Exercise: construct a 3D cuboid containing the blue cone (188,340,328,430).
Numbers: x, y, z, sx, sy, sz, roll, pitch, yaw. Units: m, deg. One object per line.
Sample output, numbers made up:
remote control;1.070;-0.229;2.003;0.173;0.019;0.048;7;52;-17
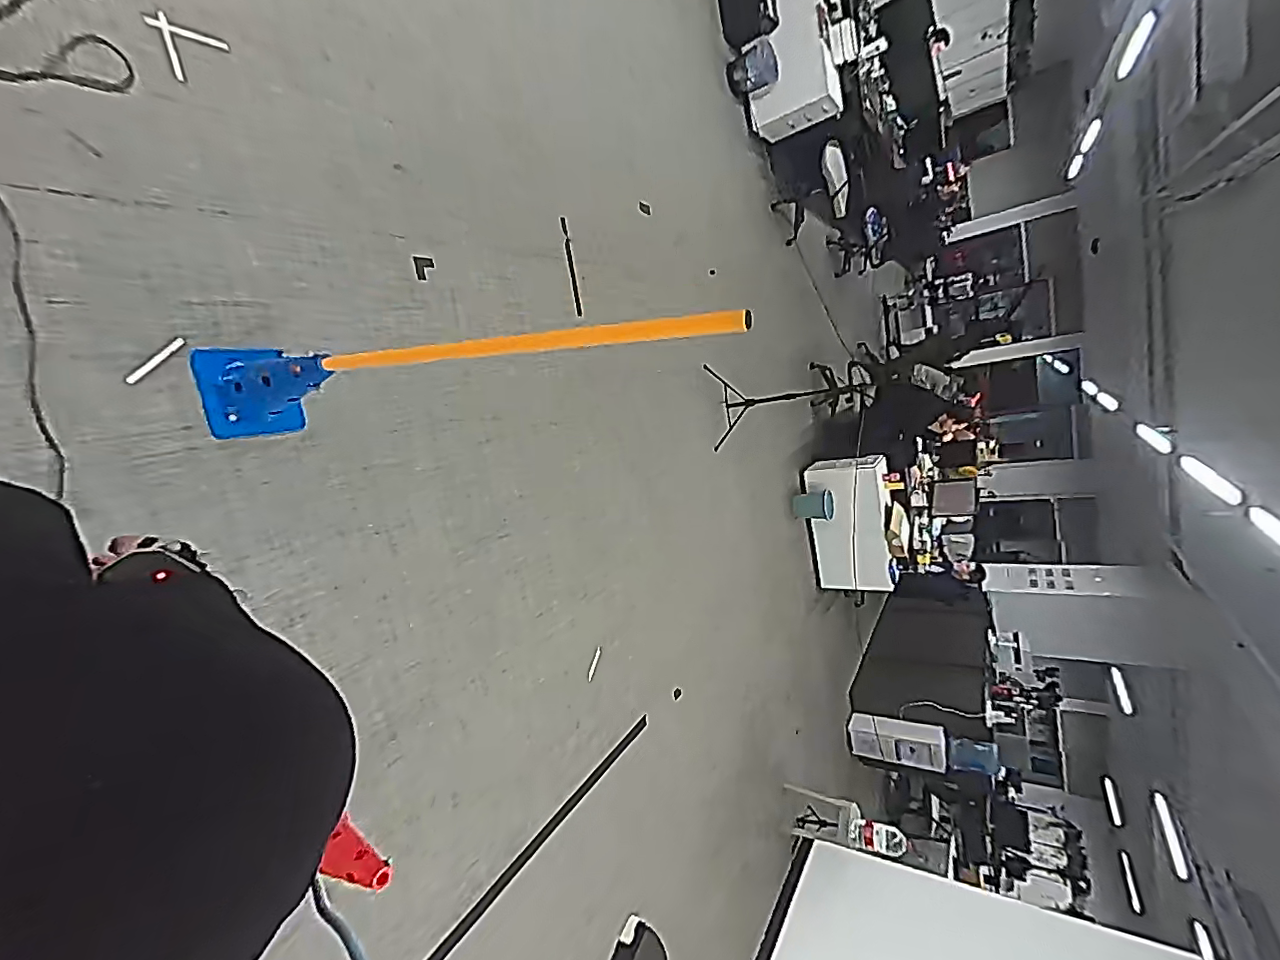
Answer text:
blue cone;-0.769;-0.227;1.148;0.193;0.380;0.192;-18;100;-55
